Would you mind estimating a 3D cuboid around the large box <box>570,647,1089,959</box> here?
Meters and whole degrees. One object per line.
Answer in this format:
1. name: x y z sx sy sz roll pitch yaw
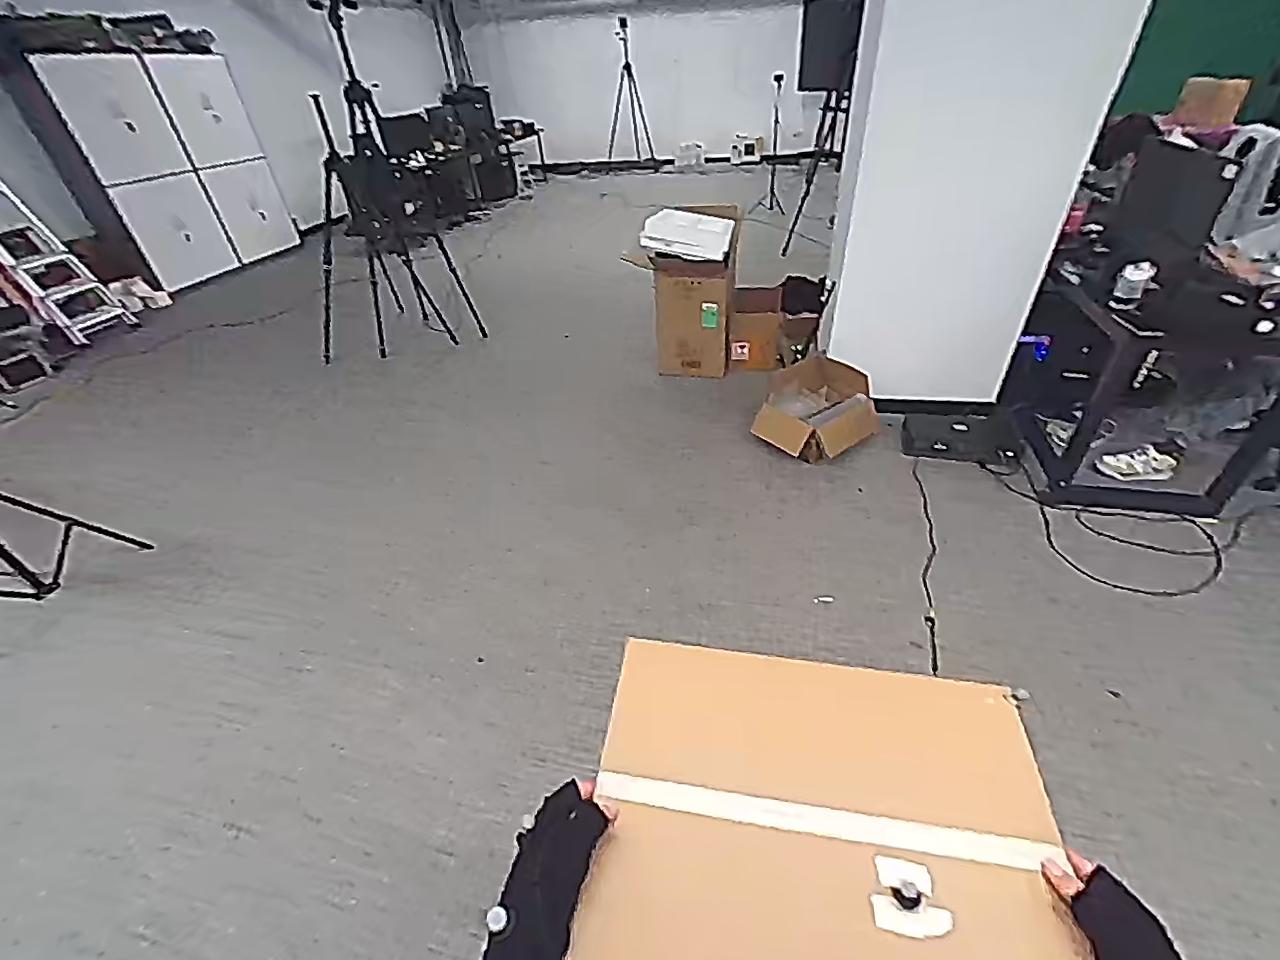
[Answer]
1. large box: 0.165 0.419 0.589 0.408 0.320 0.320 5 43 9
